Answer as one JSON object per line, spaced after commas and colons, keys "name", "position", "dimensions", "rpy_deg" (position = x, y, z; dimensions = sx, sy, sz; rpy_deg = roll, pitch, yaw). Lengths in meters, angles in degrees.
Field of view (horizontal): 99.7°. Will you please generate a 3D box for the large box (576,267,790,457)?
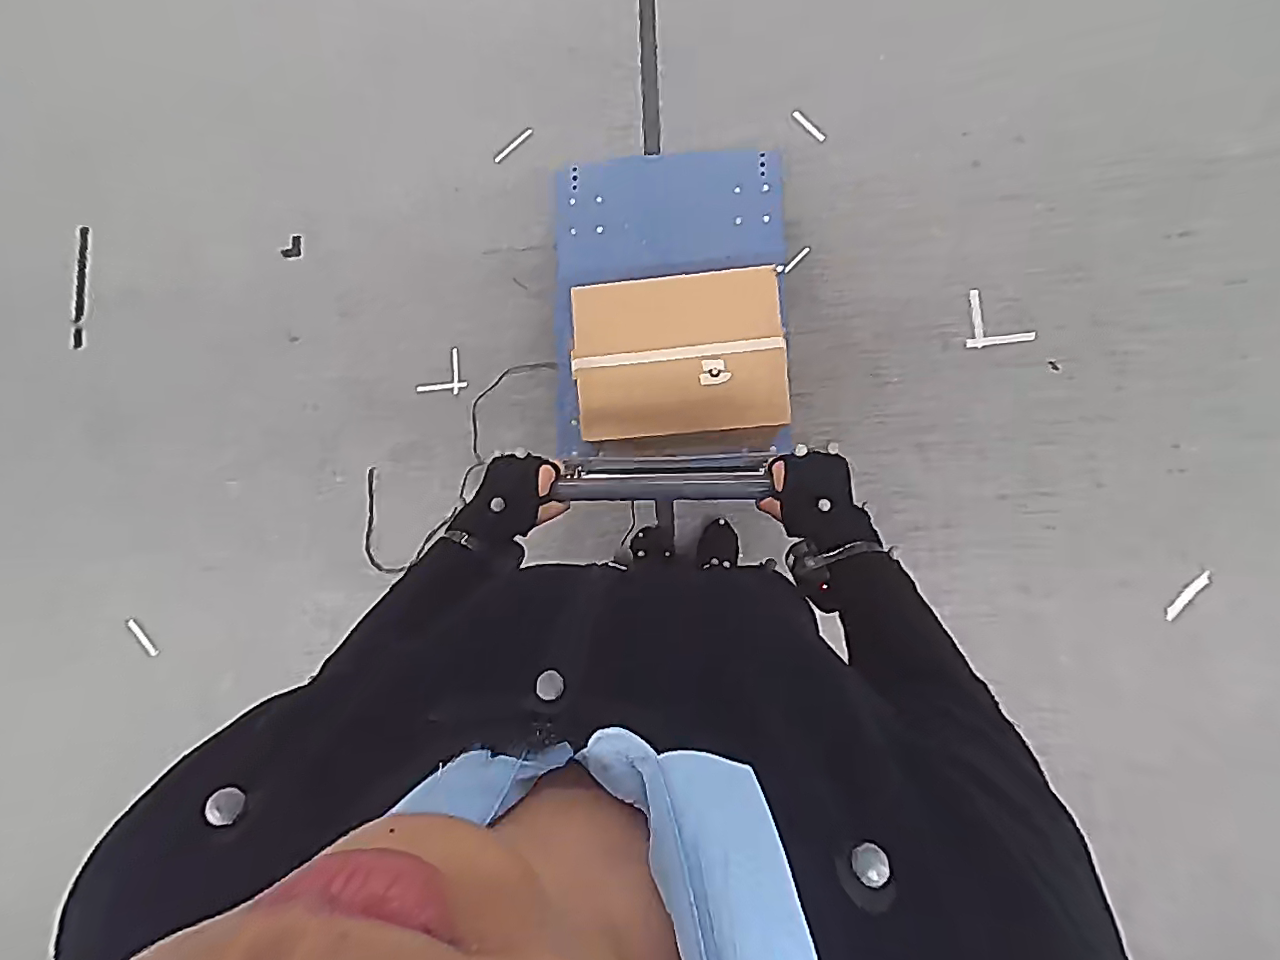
{"name": "large box", "position": [0.089, -0.236, 1.208], "dimensions": [0.408, 0.320, 0.320], "rpy_deg": [-5, 86, 4]}
